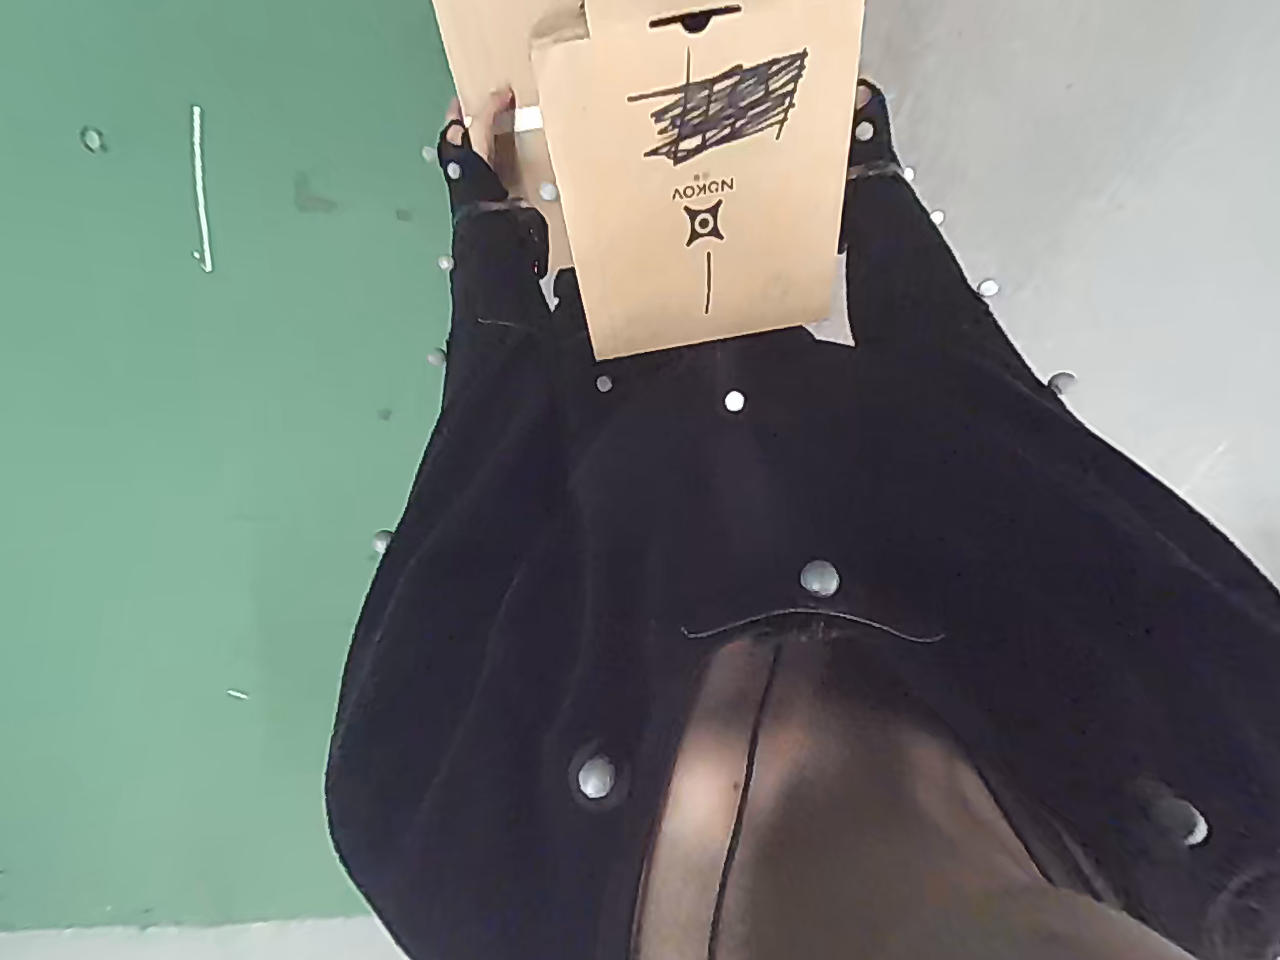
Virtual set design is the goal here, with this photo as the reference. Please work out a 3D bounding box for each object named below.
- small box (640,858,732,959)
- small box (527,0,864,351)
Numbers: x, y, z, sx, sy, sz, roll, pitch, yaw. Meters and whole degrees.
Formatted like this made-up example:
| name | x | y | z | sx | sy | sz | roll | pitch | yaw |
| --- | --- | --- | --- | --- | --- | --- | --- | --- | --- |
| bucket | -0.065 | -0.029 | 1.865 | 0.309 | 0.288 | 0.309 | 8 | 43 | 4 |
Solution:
| name | x | y | z | sx | sy | sz | roll | pitch | yaw |
| --- | --- | --- | --- | --- | --- | --- | --- | --- | --- |
| small box | 0.108 | 1.099 | 1.385 | 0.179 | 0.176 | 0.168 | 9 | 121 | -15 |
| small box | 0.027 | -0.216 | 0.365 | 0.168 | 0.176 | 0.179 | -9 | 133 | 1 |
